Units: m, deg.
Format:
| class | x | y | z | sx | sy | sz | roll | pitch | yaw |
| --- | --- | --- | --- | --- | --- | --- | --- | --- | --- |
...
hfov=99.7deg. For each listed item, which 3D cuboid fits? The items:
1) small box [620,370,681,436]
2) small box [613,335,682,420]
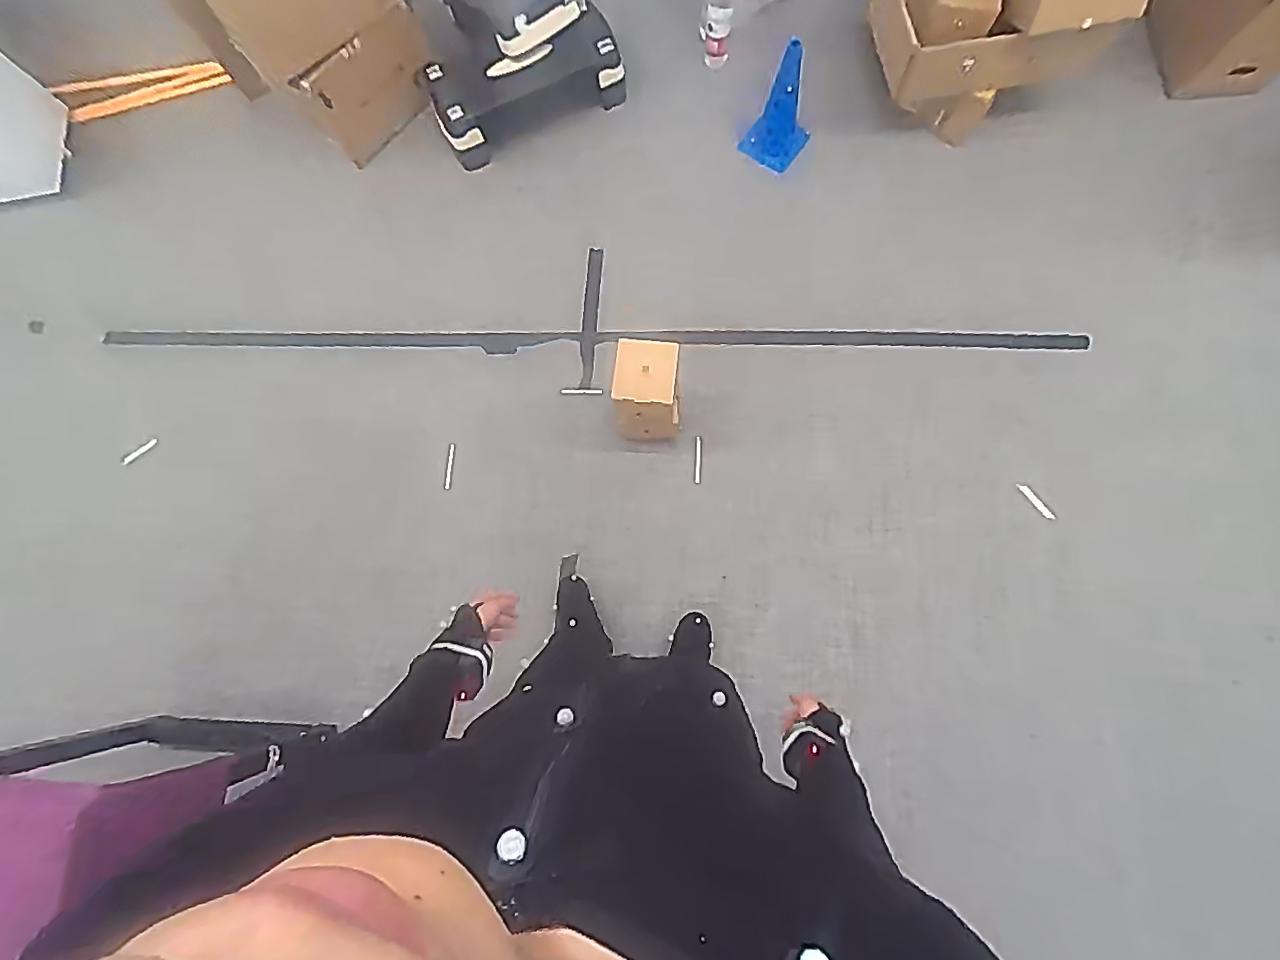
| class | x | y | z | sx | sy | sz | roll | pitch | yaw |
| --- | --- | --- | --- | --- | --- | --- | --- | --- | --- |
| small box | 0.037 | -0.238 | 1.672 | 0.179 | 0.176 | 0.168 | 1 | 78 | 4 |
| small box | 0.023 | -0.283 | 1.516 | 0.168 | 0.176 | 0.179 | 6 | 80 | 4 |
